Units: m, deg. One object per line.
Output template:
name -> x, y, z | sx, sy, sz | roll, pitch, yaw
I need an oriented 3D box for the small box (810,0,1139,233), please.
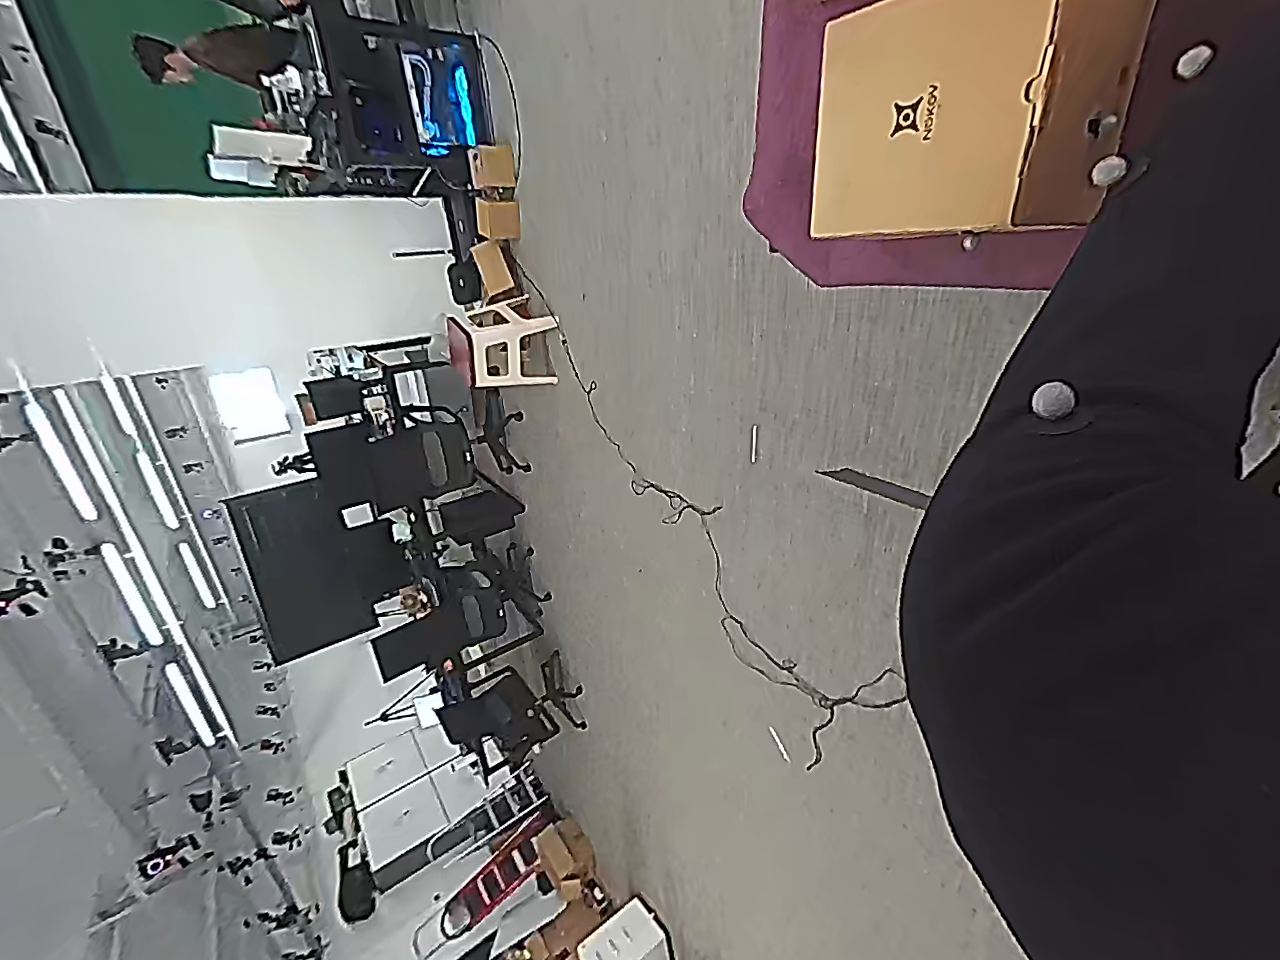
small box -> 0.276, -0.308, 0.468 | 0.179, 0.176, 0.168 | 25, 126, 49
